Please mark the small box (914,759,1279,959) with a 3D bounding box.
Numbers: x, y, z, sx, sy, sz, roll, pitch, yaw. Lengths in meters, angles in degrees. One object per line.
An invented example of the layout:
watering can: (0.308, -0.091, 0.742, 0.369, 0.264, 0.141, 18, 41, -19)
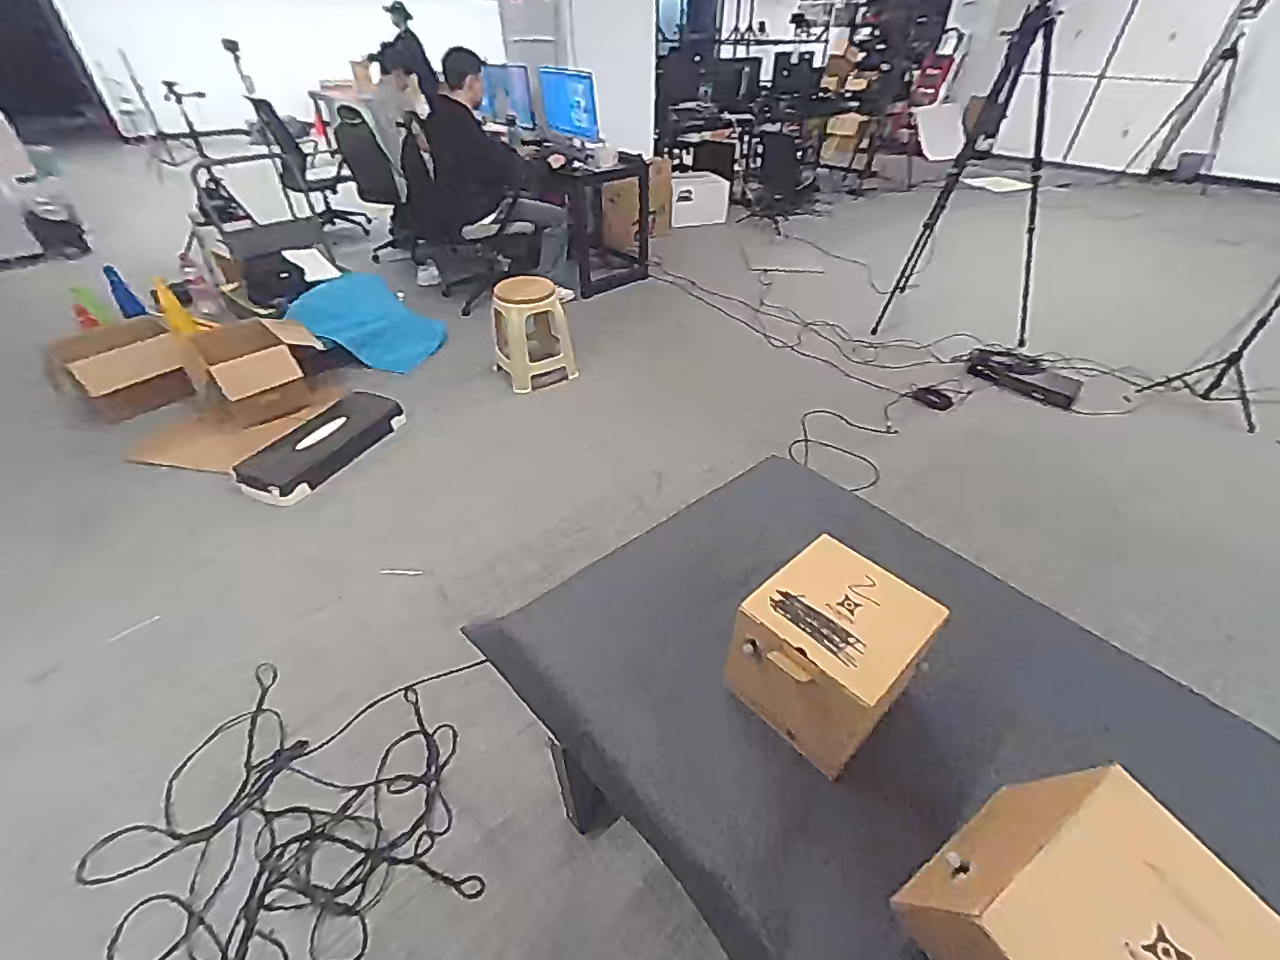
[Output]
small box: (0.352, 0.361, 0.428, 0.179, 0.176, 0.168, -28, 59, -19)
